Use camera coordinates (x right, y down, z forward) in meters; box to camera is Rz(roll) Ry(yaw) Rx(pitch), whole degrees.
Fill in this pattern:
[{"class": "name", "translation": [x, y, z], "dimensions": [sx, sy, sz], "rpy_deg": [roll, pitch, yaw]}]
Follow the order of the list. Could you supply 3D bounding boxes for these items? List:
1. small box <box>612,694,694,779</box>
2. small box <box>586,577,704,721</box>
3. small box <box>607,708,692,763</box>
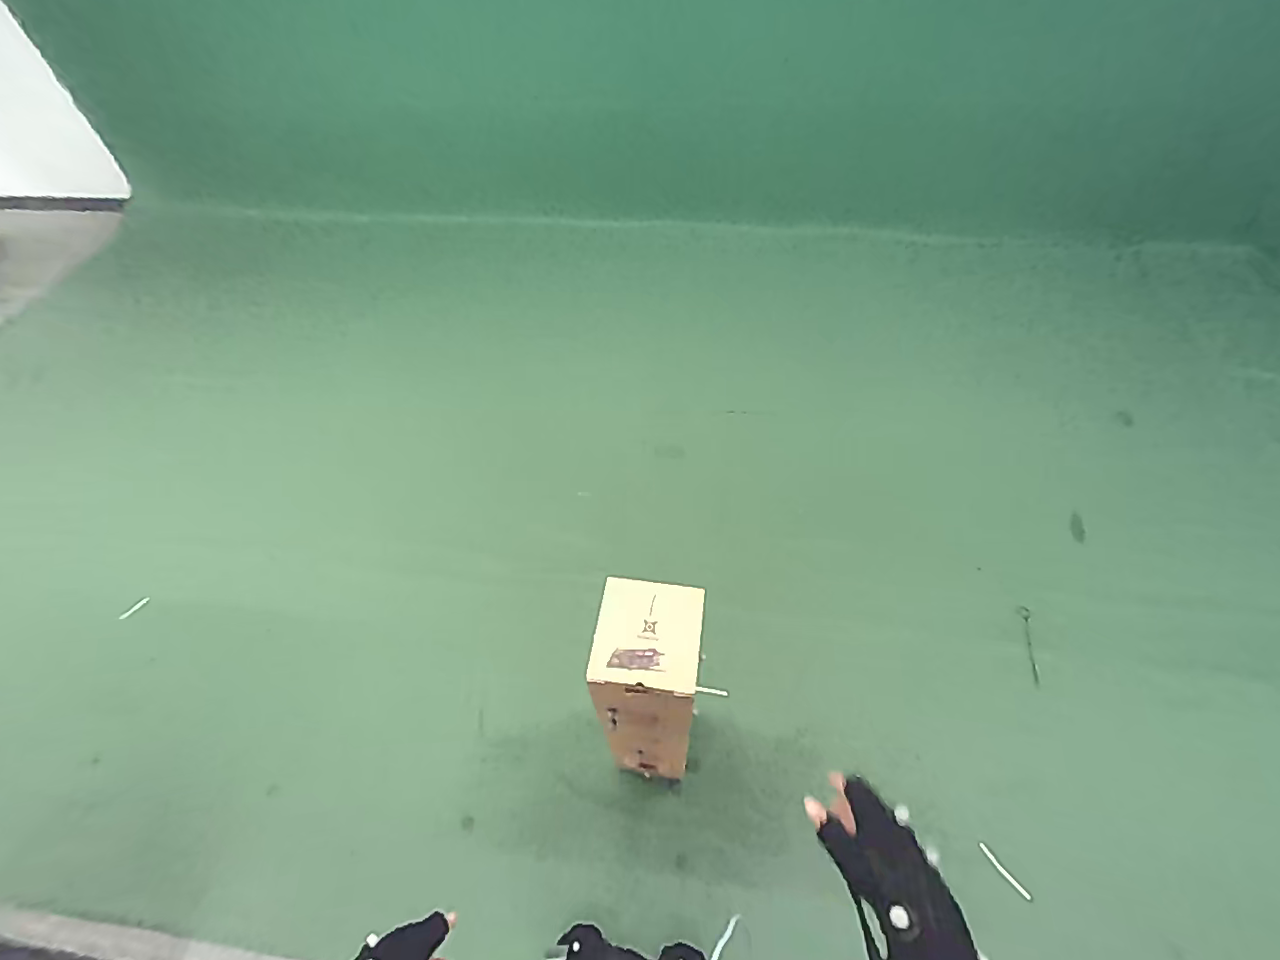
[{"class": "small box", "translation": [0.034, 0.593, 1.297], "dimensions": [0.168, 0.176, 0.179], "rpy_deg": [7, 52, 8]}, {"class": "small box", "translation": [0.015, 0.288, 0.912], "dimensions": [0.168, 0.176, 0.179], "rpy_deg": [6, 52, 7]}, {"class": "small box", "translation": [0.027, 0.491, 1.170], "dimensions": [0.168, 0.176, 0.179], "rpy_deg": [6, 53, 7]}]
